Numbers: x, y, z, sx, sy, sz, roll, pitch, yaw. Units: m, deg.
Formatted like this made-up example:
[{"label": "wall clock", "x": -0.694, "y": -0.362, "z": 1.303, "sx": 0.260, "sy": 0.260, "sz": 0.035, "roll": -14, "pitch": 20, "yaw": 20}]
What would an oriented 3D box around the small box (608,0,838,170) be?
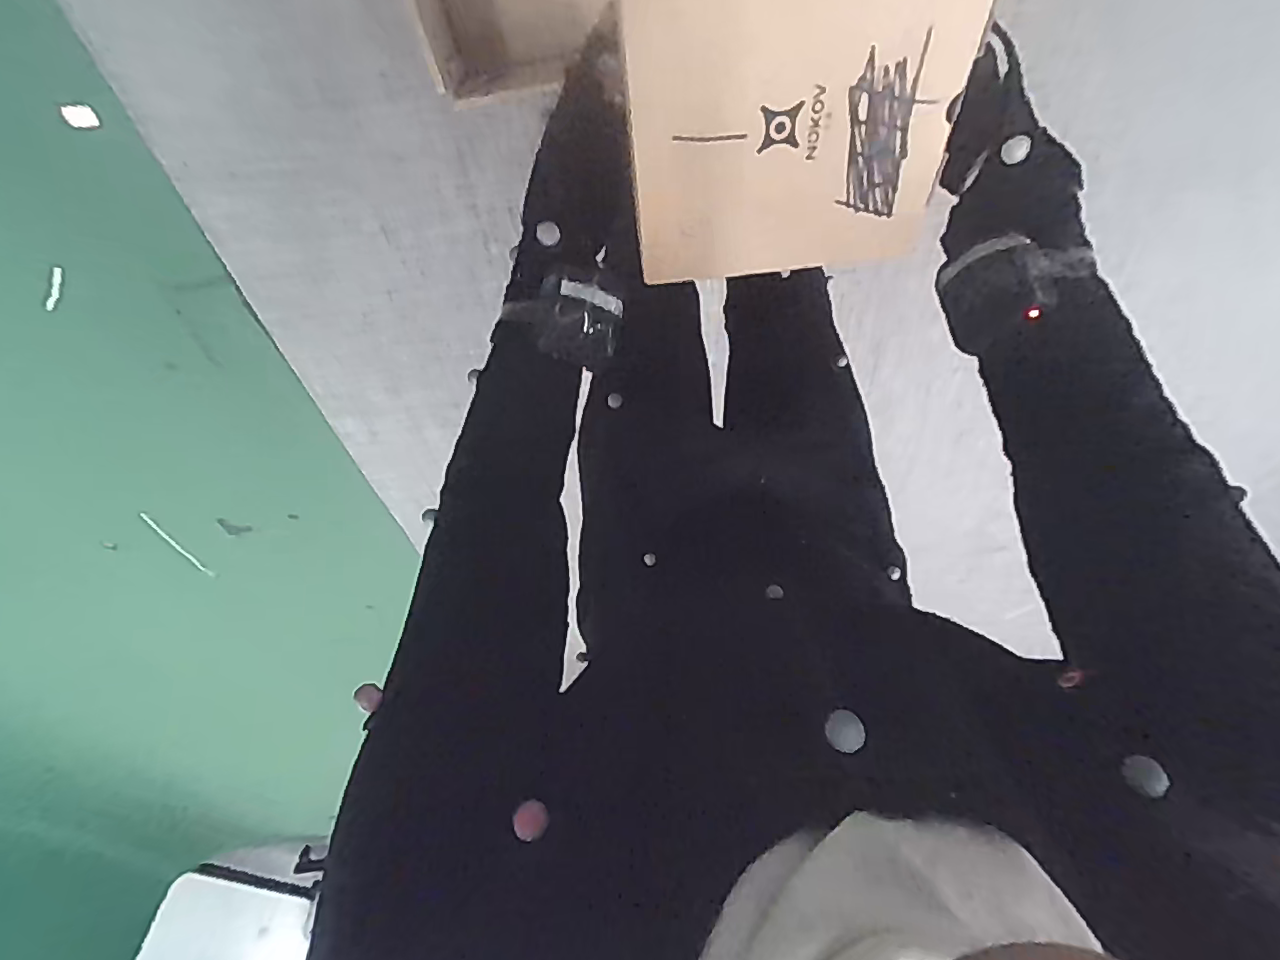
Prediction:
[{"label": "small box", "x": 0.059, "y": -0.392, "z": 0.446, "sx": 0.168, "sy": 0.176, "sz": 0.179, "roll": -7, "pitch": 141, "yaw": 4}]
